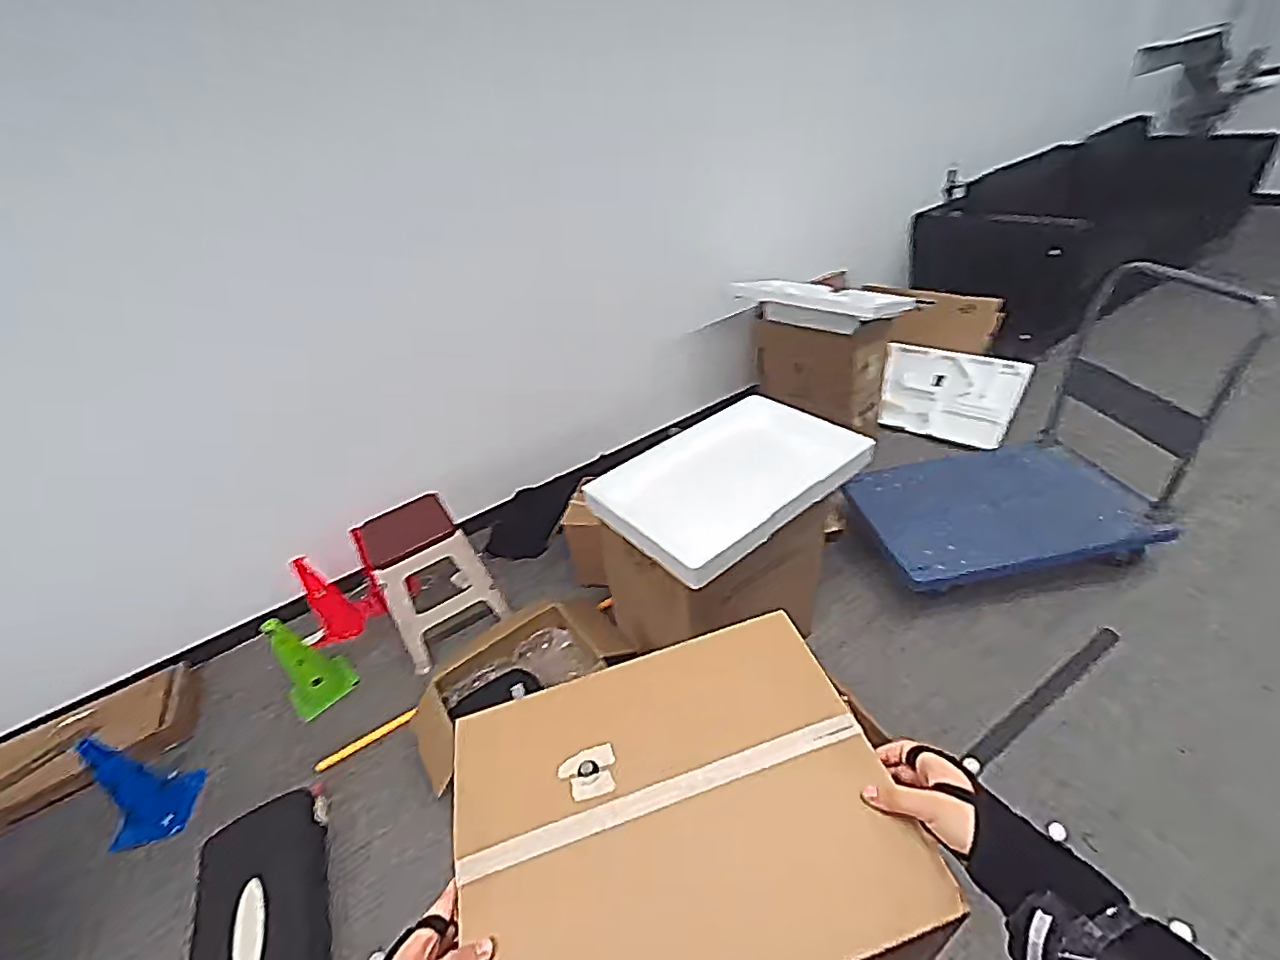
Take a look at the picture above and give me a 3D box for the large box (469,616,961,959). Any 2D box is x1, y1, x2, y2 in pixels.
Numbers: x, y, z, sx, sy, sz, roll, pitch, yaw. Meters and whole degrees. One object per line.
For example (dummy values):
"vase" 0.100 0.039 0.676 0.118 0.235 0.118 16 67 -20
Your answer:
"large box" 0.059 0.424 0.615 0.408 0.320 0.320 -17 37 -6
